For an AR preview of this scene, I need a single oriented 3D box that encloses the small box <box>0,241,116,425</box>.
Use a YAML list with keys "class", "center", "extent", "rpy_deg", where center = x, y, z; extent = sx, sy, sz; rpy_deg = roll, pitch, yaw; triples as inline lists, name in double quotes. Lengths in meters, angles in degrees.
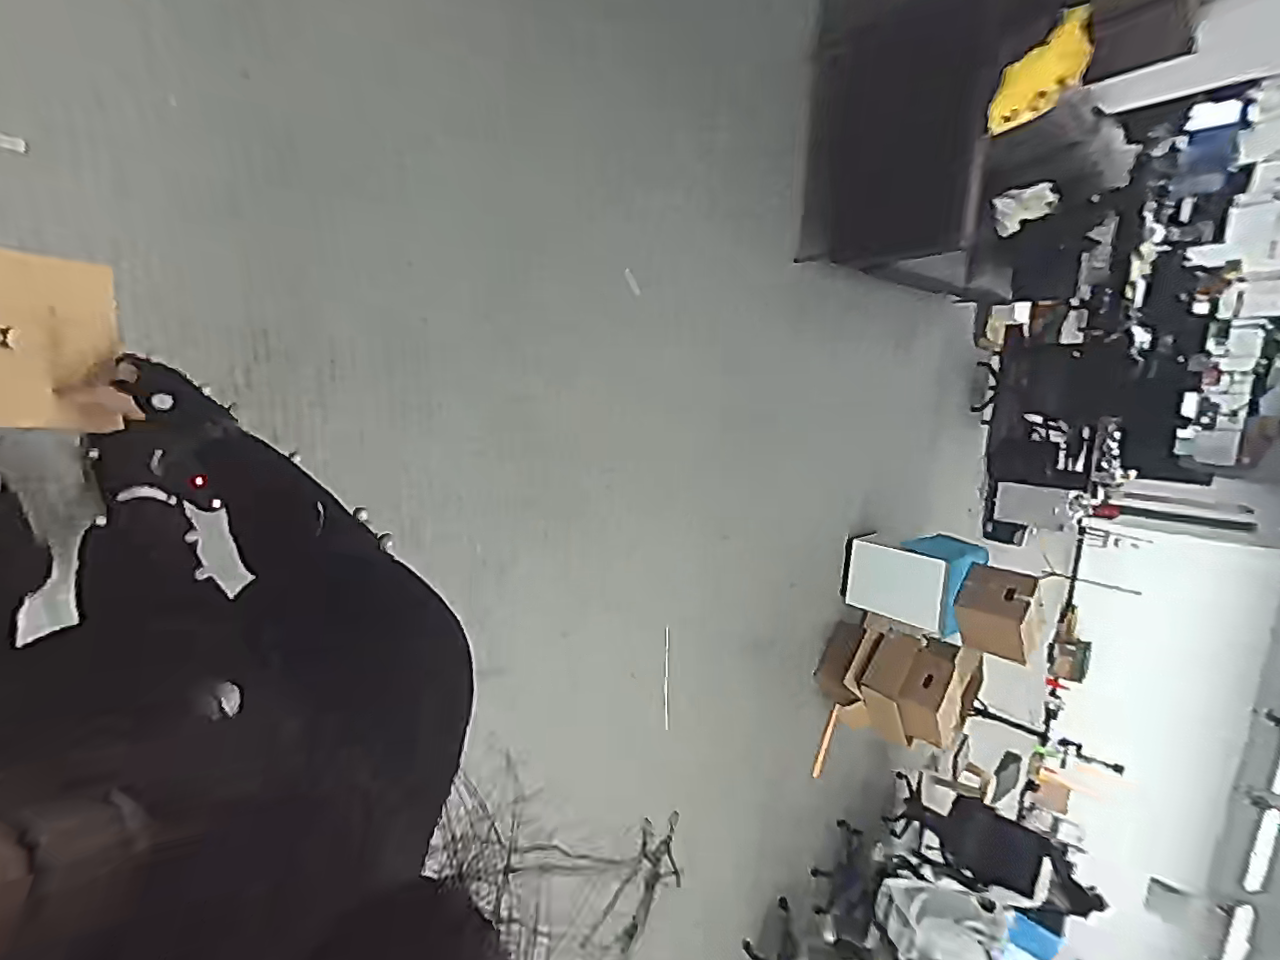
- class: "small box"
  center: [-0.658, -0.142, 0.545]
  extent: [0.179, 0.176, 0.168]
  rpy_deg: [-4, 96, -48]
